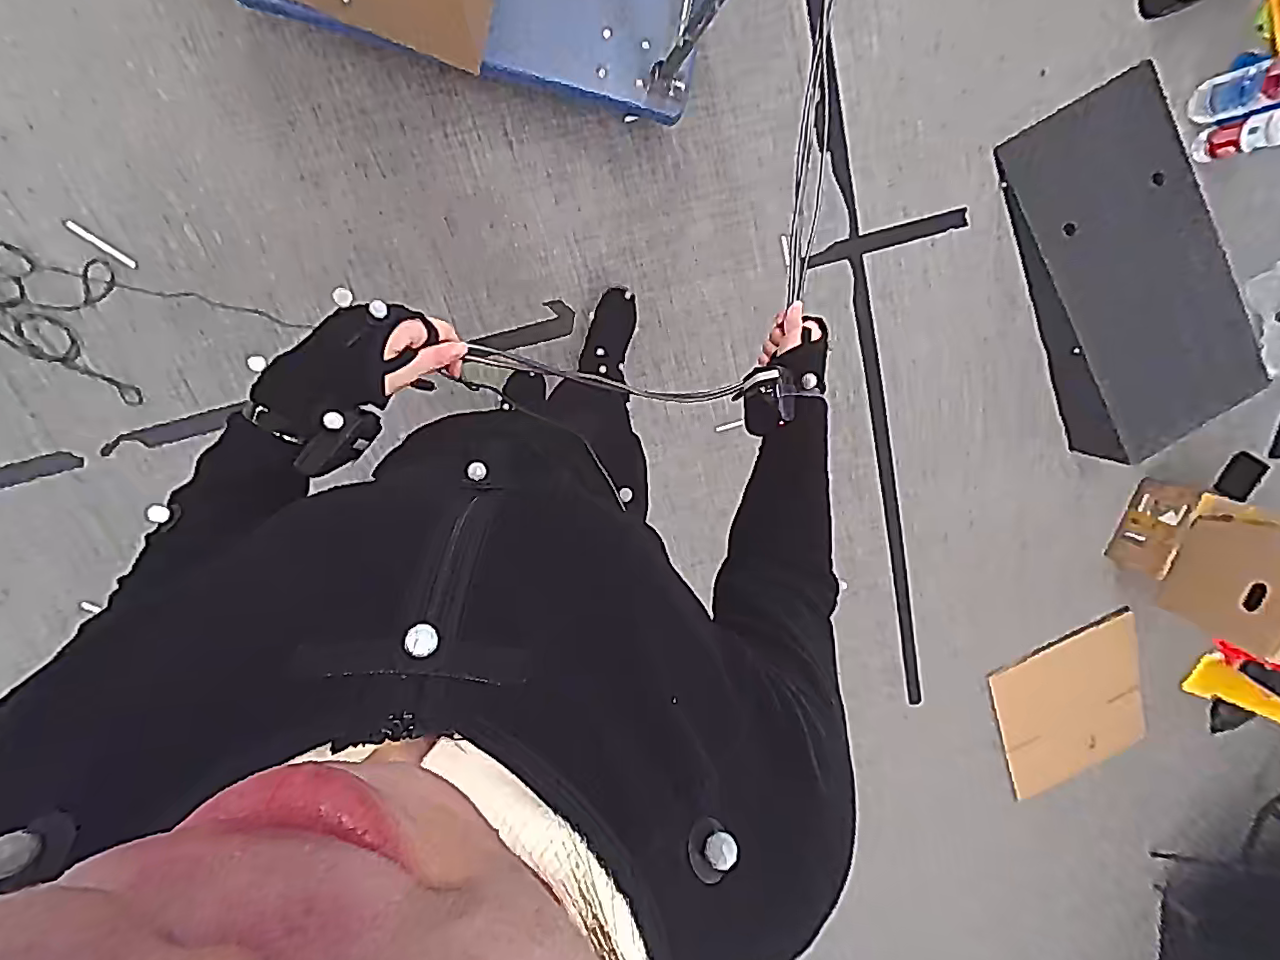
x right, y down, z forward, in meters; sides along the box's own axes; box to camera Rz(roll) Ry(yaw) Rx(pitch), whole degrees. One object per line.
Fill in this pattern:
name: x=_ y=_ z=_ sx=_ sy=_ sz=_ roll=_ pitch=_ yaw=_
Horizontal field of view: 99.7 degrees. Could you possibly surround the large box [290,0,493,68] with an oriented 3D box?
large box: x=-0.432 y=-0.932 z=0.831 sx=0.408 sy=0.320 sz=0.320 roll=13 pitch=103 yaw=-14
